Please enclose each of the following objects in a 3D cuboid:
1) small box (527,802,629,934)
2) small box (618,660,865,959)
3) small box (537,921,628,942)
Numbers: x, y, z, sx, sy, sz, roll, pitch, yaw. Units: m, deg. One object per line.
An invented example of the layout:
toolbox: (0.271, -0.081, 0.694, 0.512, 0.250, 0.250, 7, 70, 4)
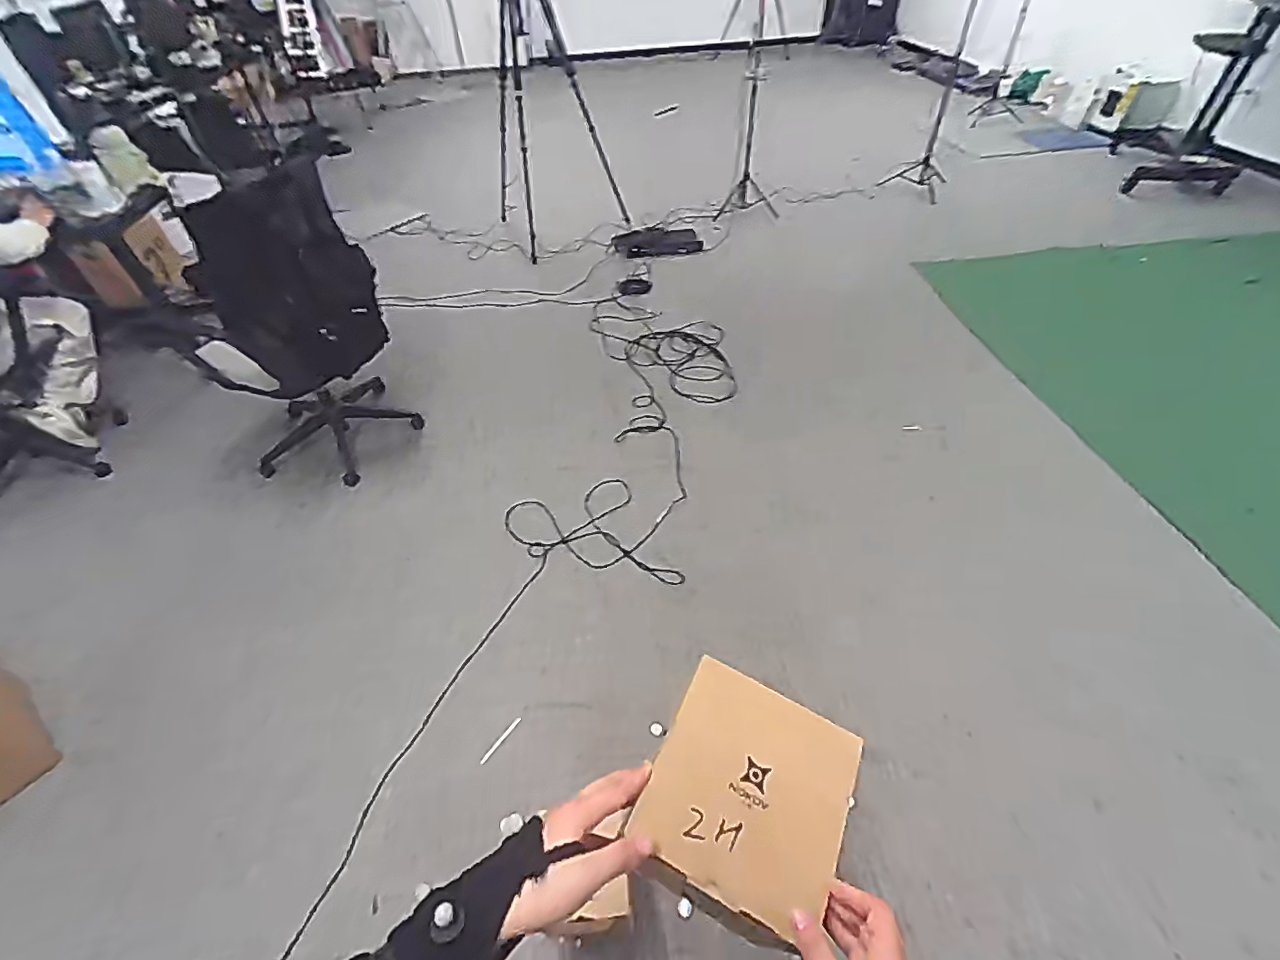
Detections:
small box: (-0.111, 0.734, 1.018, 0.168, 0.176, 0.179, -5, 45, -2)
small box: (0.088, 0.317, 0.526, 0.168, 0.176, 0.179, 26, 53, 13)
small box: (-0.116, 0.849, 1.136, 0.168, 0.176, 0.179, -5, 45, -2)
